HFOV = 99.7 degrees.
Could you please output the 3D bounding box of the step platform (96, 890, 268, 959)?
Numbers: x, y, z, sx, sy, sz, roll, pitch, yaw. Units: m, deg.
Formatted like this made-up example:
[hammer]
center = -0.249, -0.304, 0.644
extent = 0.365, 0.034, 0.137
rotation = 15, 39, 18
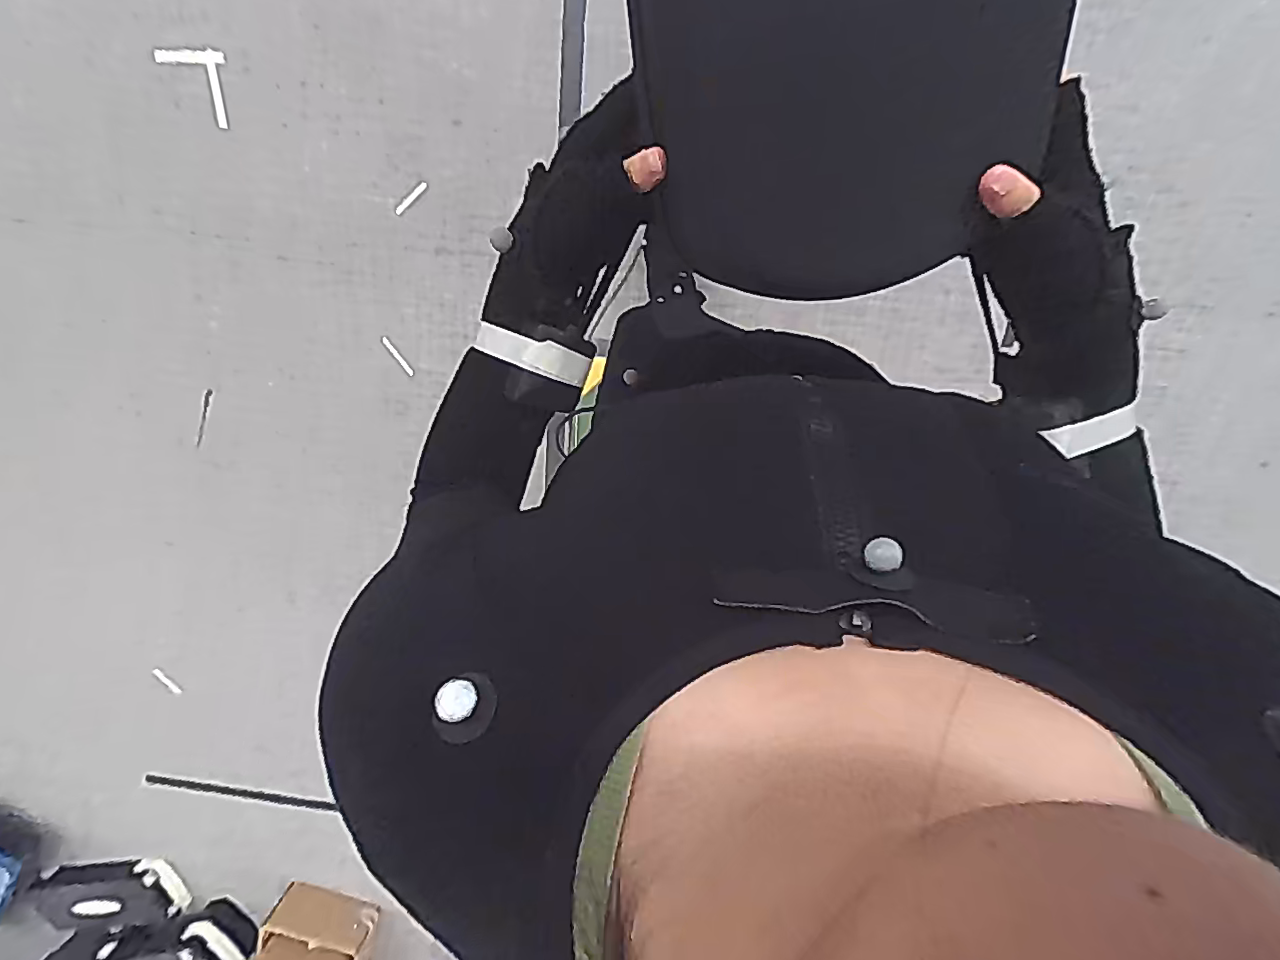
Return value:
[step platform]
center = -2.043, 2.070, 2.409
extent = 0.684, 0.204, 0.286
rotation = -22, 107, 12
